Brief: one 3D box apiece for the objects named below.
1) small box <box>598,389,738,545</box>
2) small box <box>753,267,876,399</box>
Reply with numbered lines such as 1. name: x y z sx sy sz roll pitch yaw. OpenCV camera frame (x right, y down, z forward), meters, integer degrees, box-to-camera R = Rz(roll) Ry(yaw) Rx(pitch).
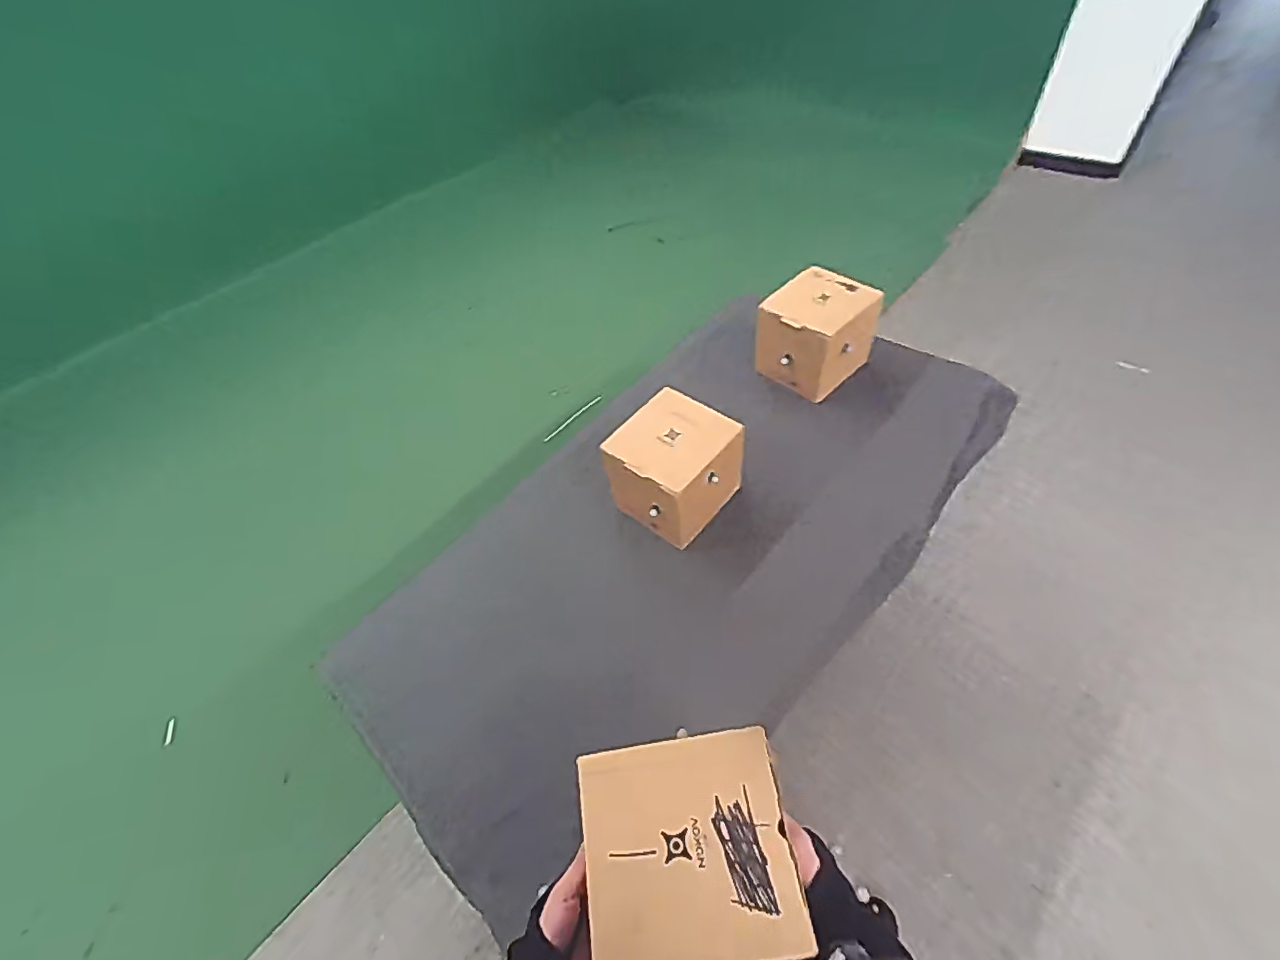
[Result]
1. small box: 0.055 -0.019 0.940 0.168 0.176 0.179 32 62 27
2. small box: 0.349 -0.297 1.106 0.179 0.176 0.168 -39 57 -20
